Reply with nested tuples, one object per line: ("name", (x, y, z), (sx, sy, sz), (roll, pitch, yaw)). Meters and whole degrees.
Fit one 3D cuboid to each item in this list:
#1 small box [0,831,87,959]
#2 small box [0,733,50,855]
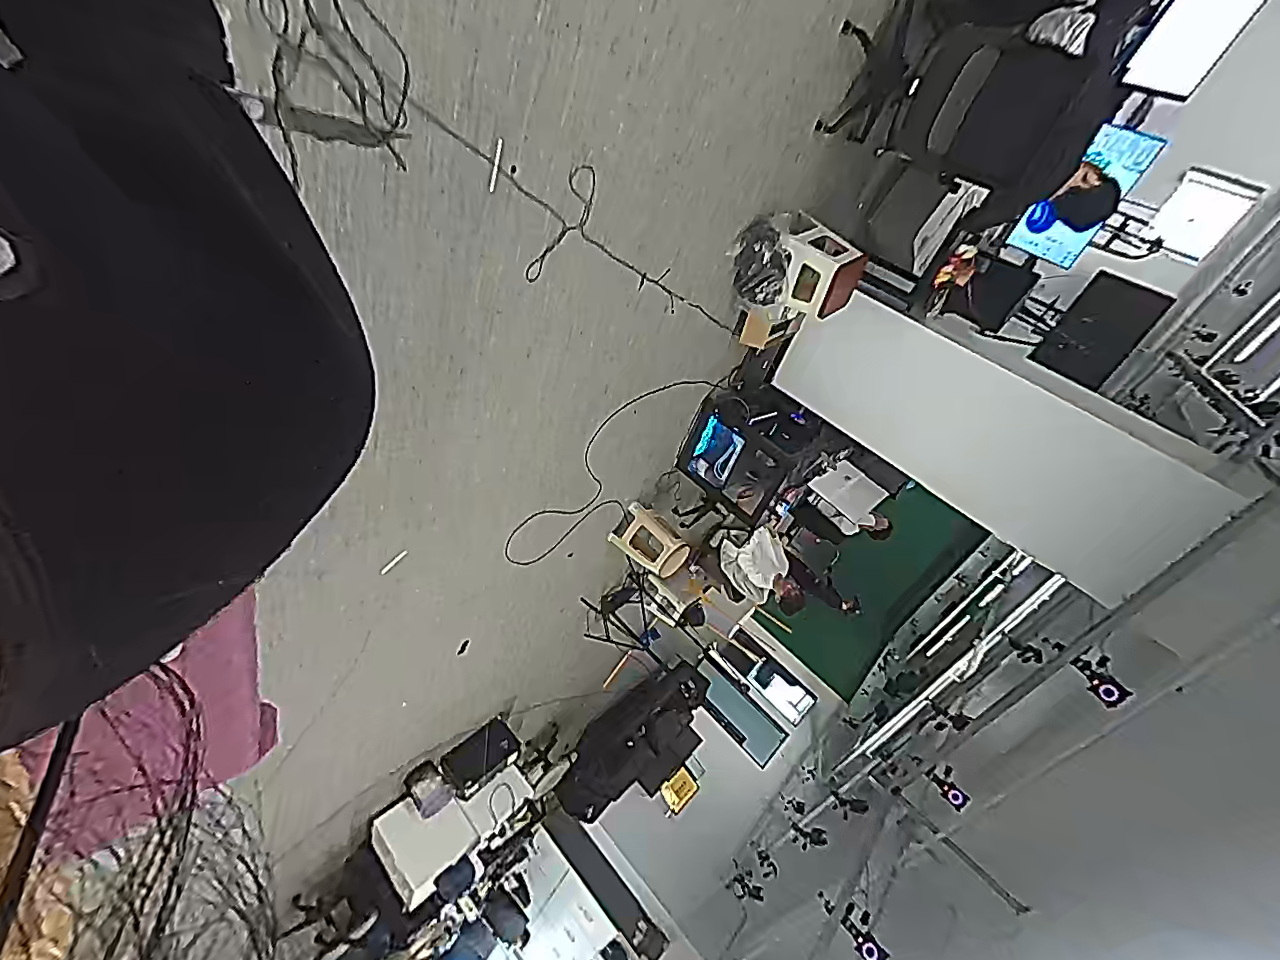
("small box", (-0.829, 0.578, 0.661), (0.168, 0.176, 0.179), (-21, 144, -46))
("small box", (-0.942, 0.475, 0.722), (0.168, 0.176, 0.179), (-19, 143, -48))
